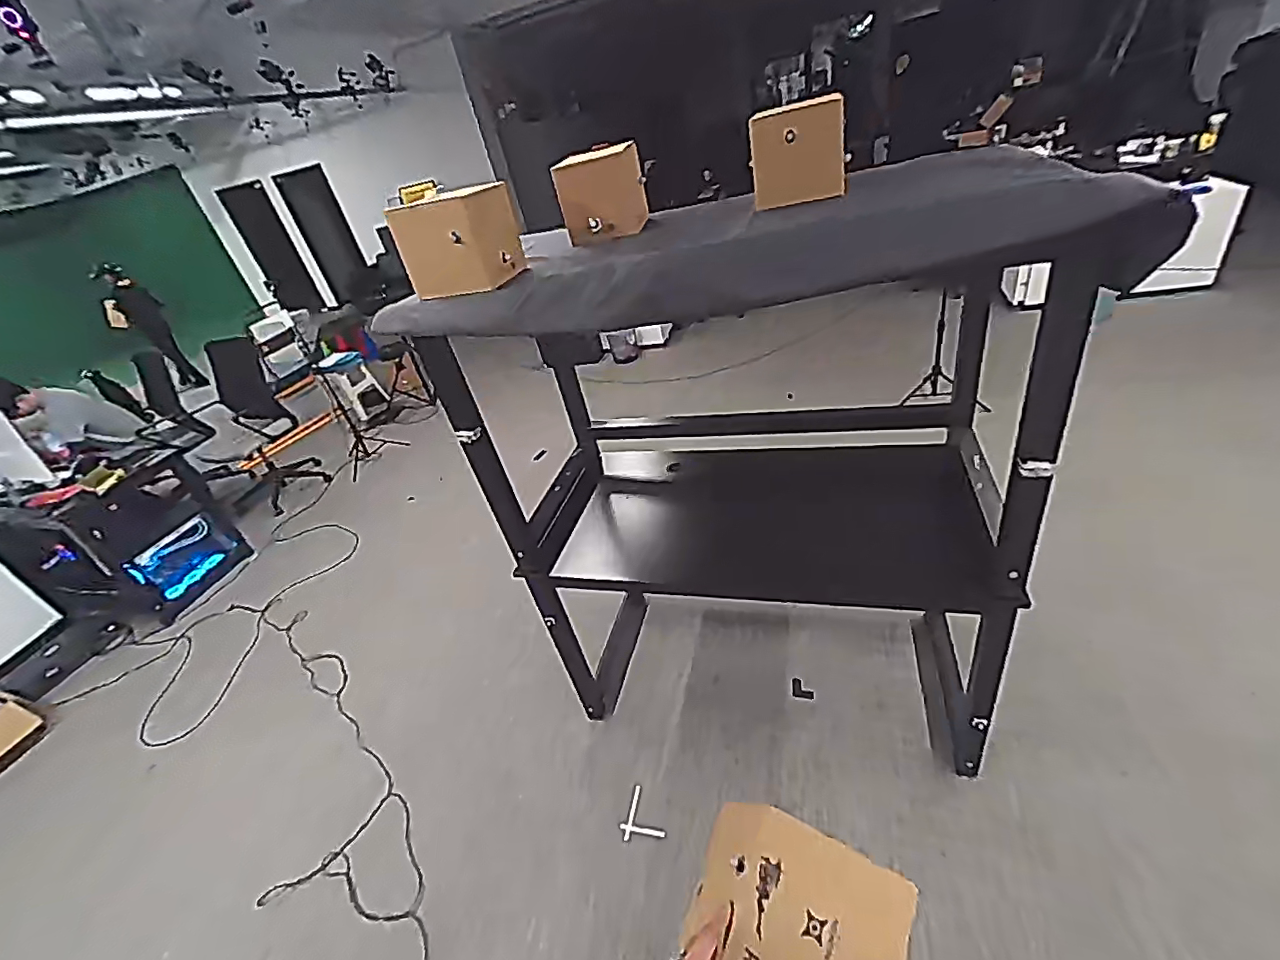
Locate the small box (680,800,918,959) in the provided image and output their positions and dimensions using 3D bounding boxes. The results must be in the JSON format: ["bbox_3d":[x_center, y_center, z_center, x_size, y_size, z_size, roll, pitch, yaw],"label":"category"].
[{"bbox_3d":[0.165,0.474,0.594,0.179,0.176,0.168,26,59,6],"label":"small box"}]

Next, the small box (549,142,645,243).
[{"bbox_3d":[-0.089,-0.664,1.253,0.168,0.176,0.179,-6,34,15],"label":"small box"}]

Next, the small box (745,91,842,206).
[{"bbox_3d":[0.325,-0.687,1.127,0.179,0.176,0.168,-1,36,19],"label":"small box"}]
